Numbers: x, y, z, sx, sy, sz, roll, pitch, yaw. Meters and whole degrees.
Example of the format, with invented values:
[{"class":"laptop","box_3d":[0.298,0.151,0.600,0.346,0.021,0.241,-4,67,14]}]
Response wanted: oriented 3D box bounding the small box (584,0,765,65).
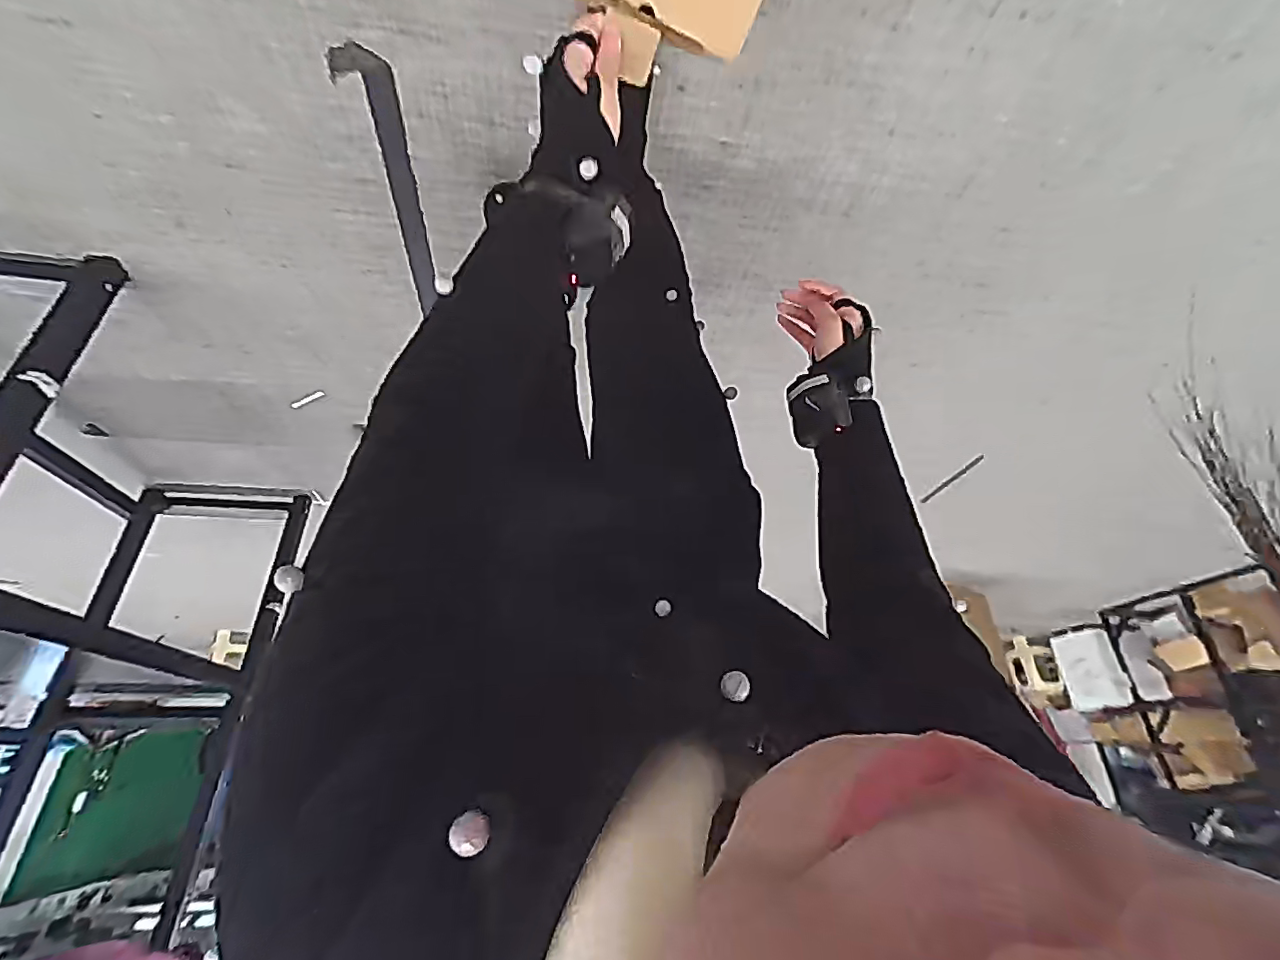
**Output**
[{"class":"small box","box_3d":[0.012,-0.446,0.388,0.168,0.176,0.179,6,129,-28]}]
